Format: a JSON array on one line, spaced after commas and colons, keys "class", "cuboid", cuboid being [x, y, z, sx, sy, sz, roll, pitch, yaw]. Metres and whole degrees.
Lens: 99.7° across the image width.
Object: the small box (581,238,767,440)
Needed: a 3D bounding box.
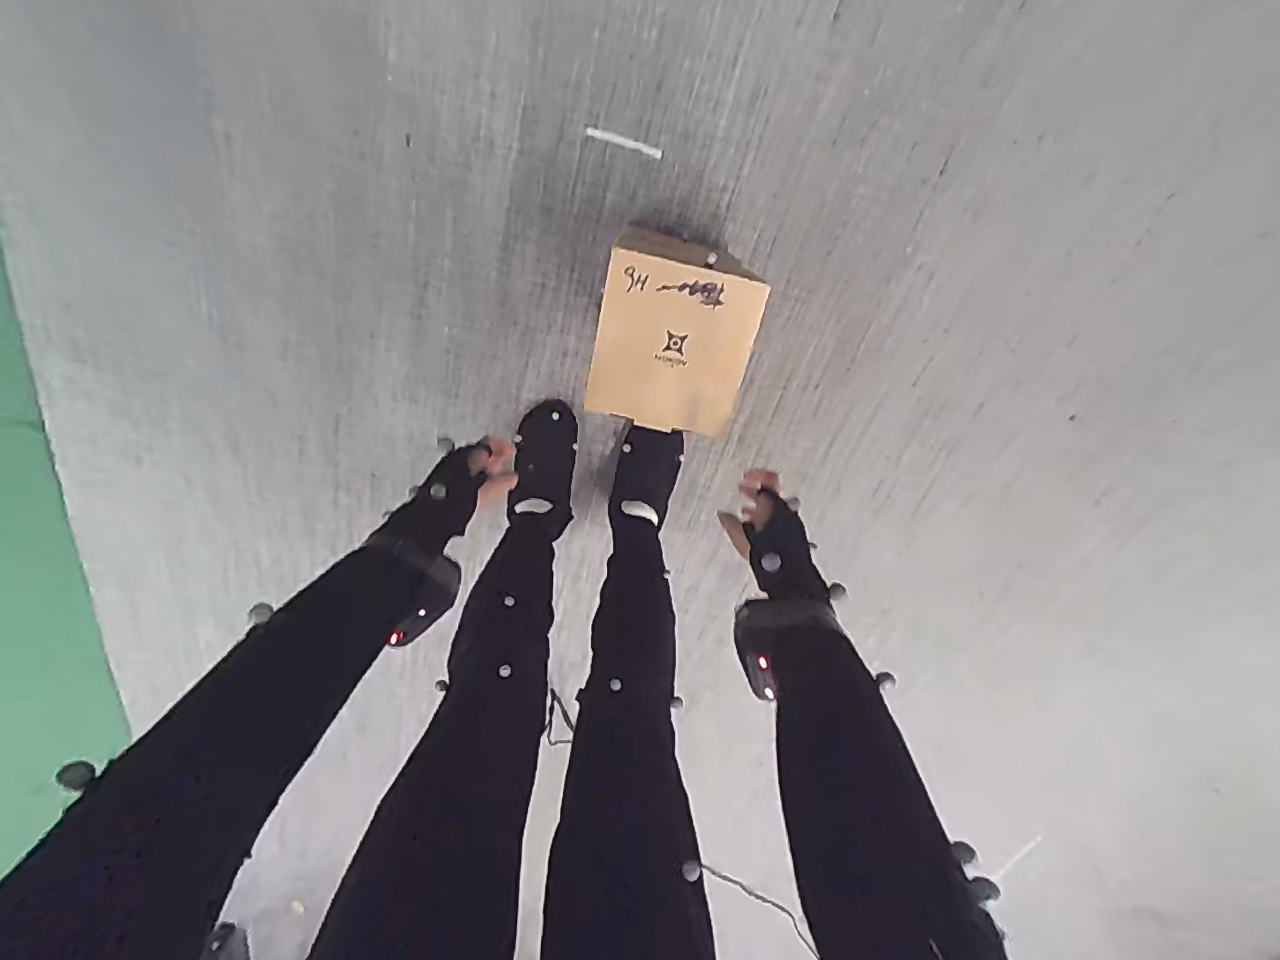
[{"class": "small box", "cuboid": [0.032, -0.173, 0.644, 0.168, 0.176, 0.179, 11, 118, -6]}]
